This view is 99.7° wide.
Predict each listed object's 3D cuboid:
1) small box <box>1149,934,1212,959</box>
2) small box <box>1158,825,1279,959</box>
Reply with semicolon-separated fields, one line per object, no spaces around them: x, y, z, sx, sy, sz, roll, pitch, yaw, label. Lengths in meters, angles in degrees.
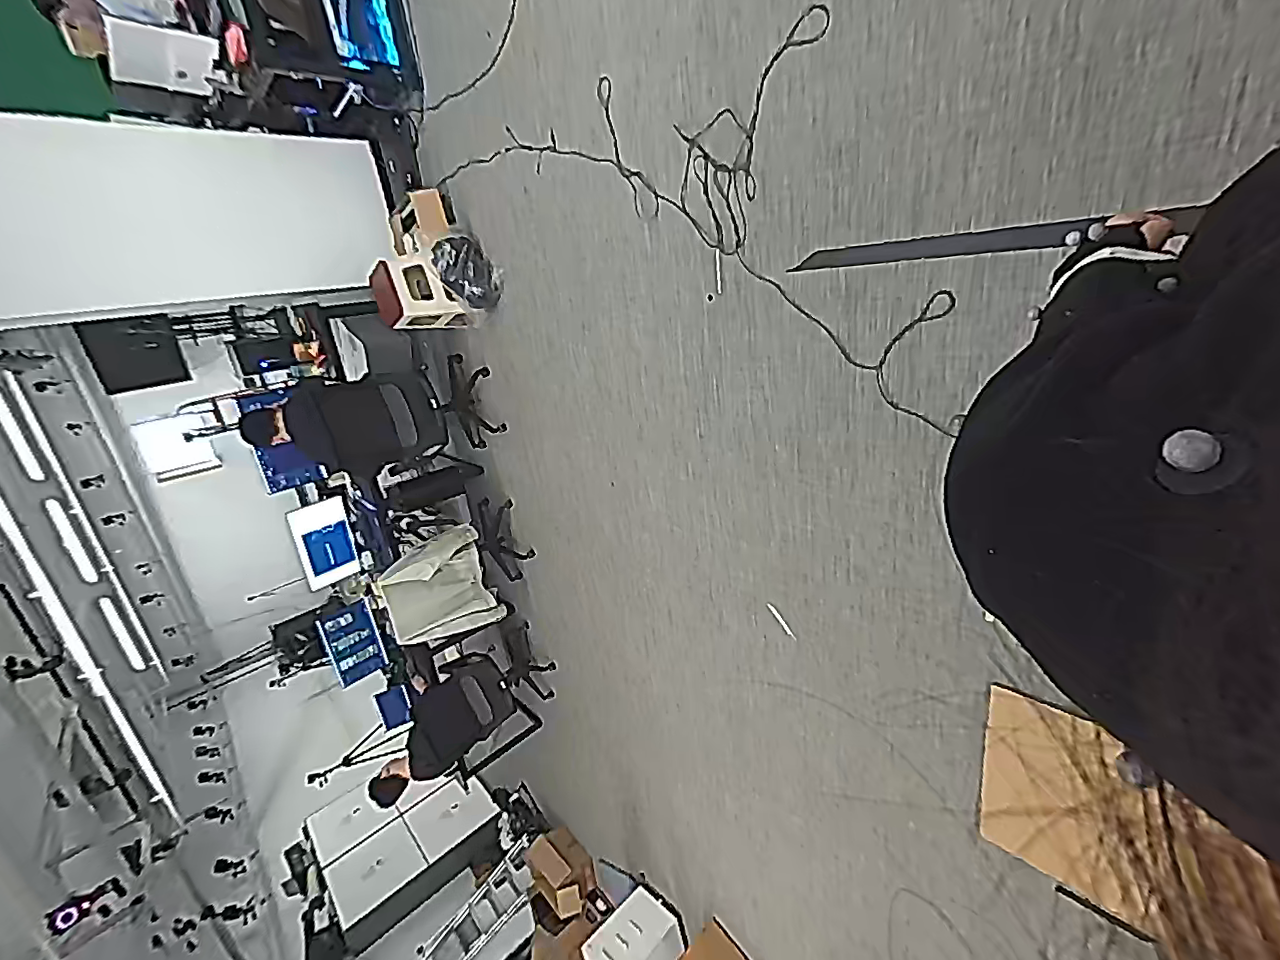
1.090;1.058;1.049;0.168;0.176;0.179;16;120;46;small box
1.334;0.949;1.241;0.168;0.176;0.179;19;123;46;small box
